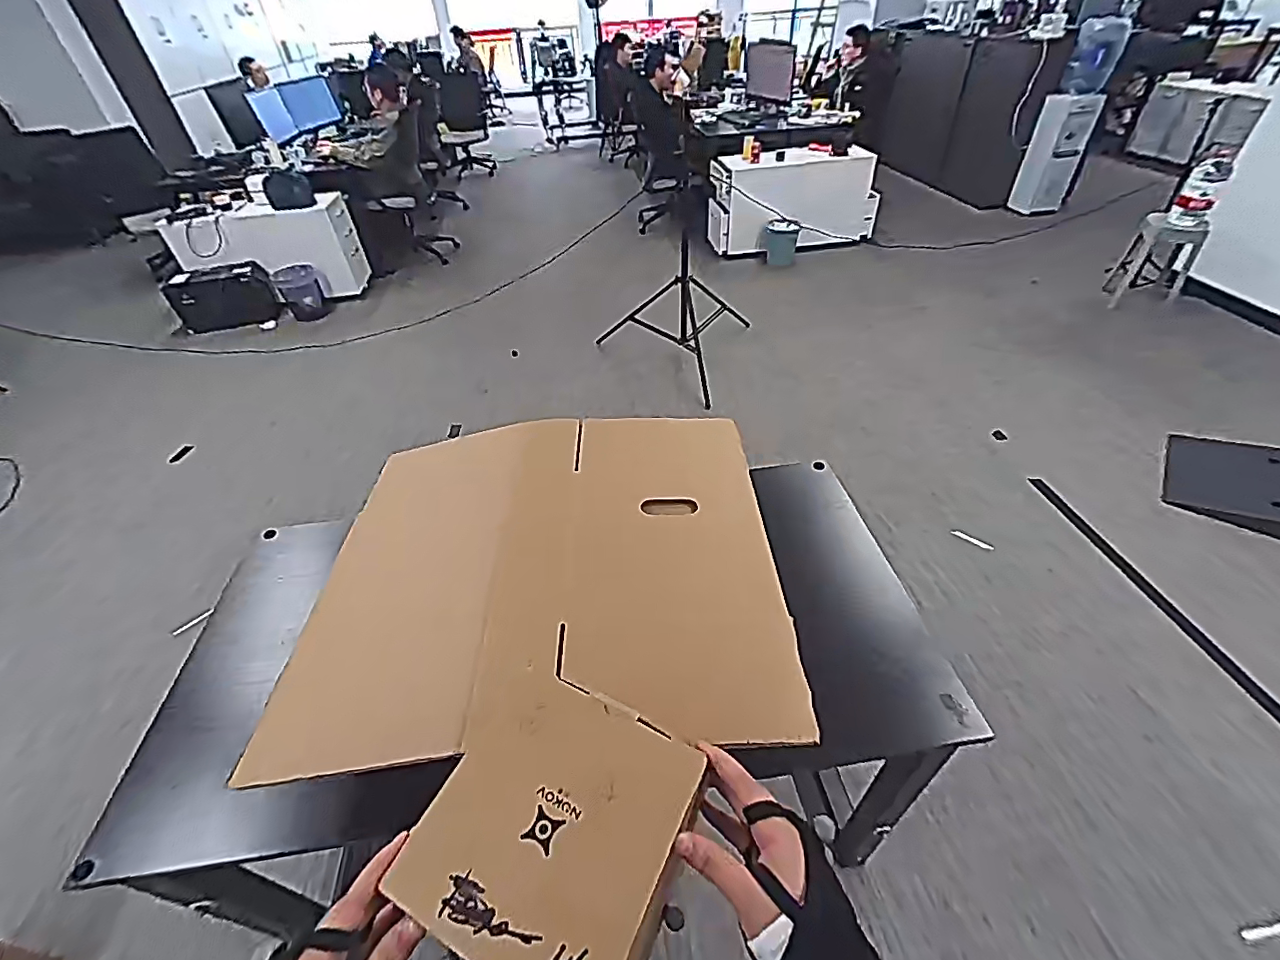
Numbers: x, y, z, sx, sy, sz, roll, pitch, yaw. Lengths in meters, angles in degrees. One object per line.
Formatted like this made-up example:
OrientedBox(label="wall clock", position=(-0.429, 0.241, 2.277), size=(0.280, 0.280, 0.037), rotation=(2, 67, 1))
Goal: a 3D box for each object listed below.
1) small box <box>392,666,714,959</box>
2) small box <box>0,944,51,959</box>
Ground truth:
OrientedBox(label="small box", position=(-0.052, 0.293, 0.435), size=(0.168, 0.176, 0.179), rotation=(18, 48, 22))
OrientedBox(label="small box", position=(-1.334, 1.061, 1.067), size=(0.168, 0.176, 0.179), rotation=(-10, 43, -6))
